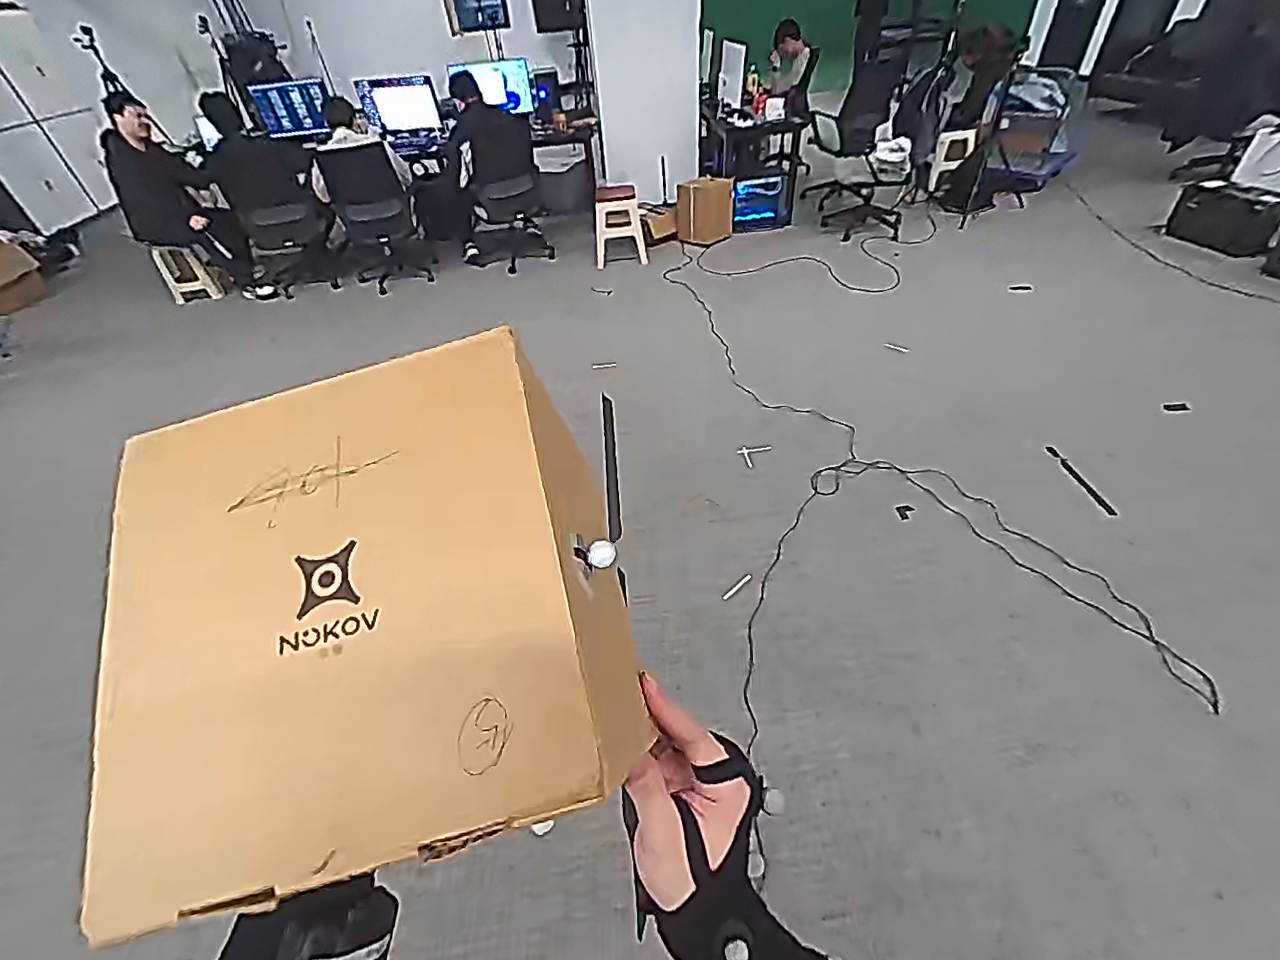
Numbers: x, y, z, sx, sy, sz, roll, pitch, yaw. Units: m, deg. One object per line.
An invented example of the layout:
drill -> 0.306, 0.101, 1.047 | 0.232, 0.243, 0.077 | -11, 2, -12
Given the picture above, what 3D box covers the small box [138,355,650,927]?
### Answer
small box -> -0.098, 0.072, 0.279 | 0.168, 0.176, 0.179 | -17, 69, 0
